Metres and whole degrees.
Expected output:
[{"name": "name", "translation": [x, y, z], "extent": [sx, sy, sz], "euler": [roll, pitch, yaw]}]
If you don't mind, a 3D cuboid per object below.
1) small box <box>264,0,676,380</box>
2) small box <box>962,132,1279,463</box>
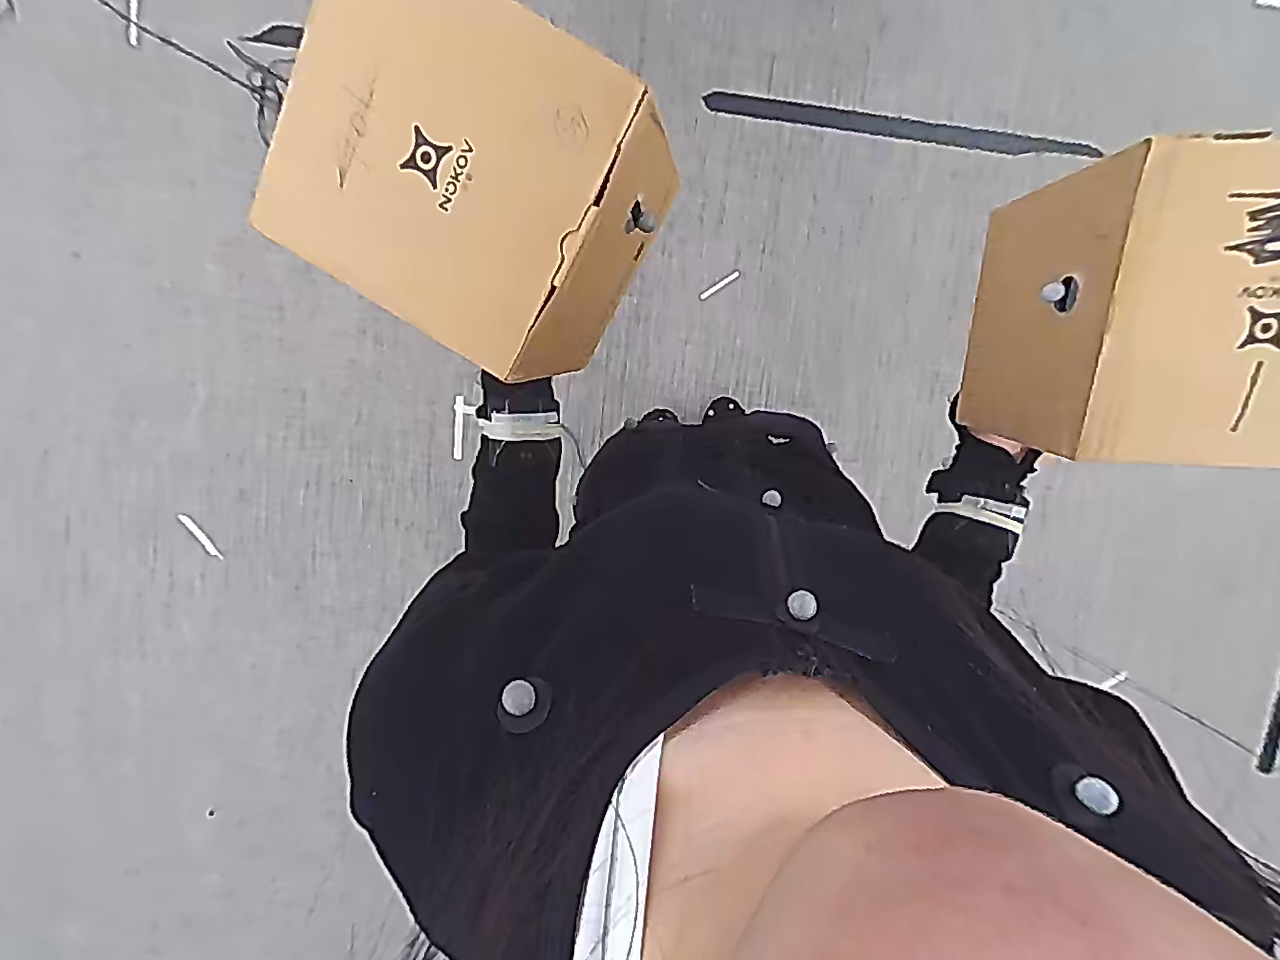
[{"name": "small box", "translation": [-0.090, -0.186, 0.362], "extent": [0.179, 0.176, 0.168], "euler": [31, 106, 1]}, {"name": "small box", "translation": [0.355, -0.115, 0.377], "extent": [0.168, 0.176, 0.179], "euler": [3, 105, 6]}]
